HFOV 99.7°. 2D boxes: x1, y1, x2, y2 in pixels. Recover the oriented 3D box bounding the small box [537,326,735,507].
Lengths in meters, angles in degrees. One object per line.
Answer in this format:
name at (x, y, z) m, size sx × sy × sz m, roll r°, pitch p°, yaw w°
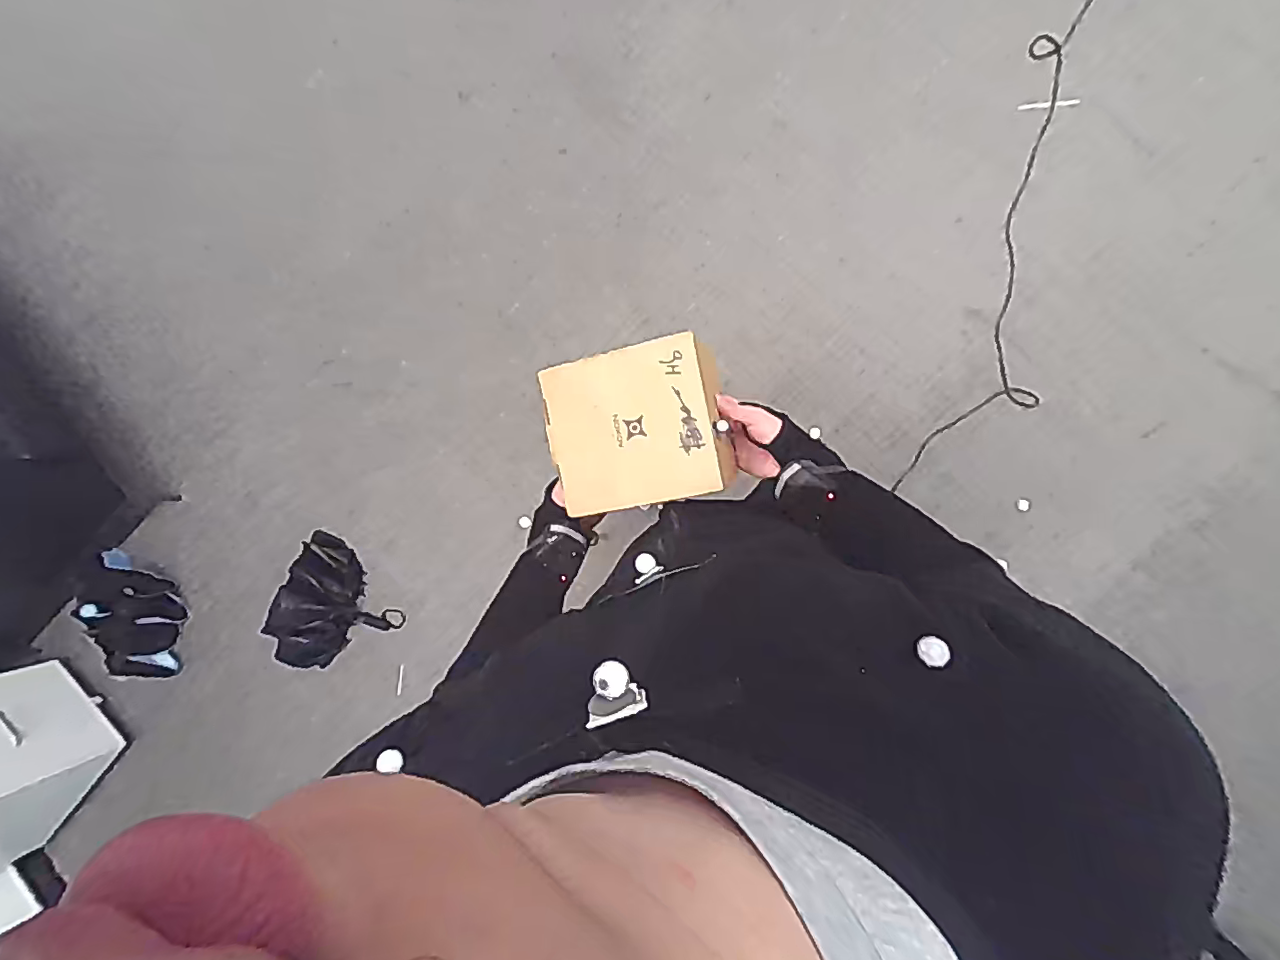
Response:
small box at (0.005, -0.070, 0.641) m, size 0.179 × 0.176 × 0.168 m, roll -10°, pitch 94°, yaw 17°
